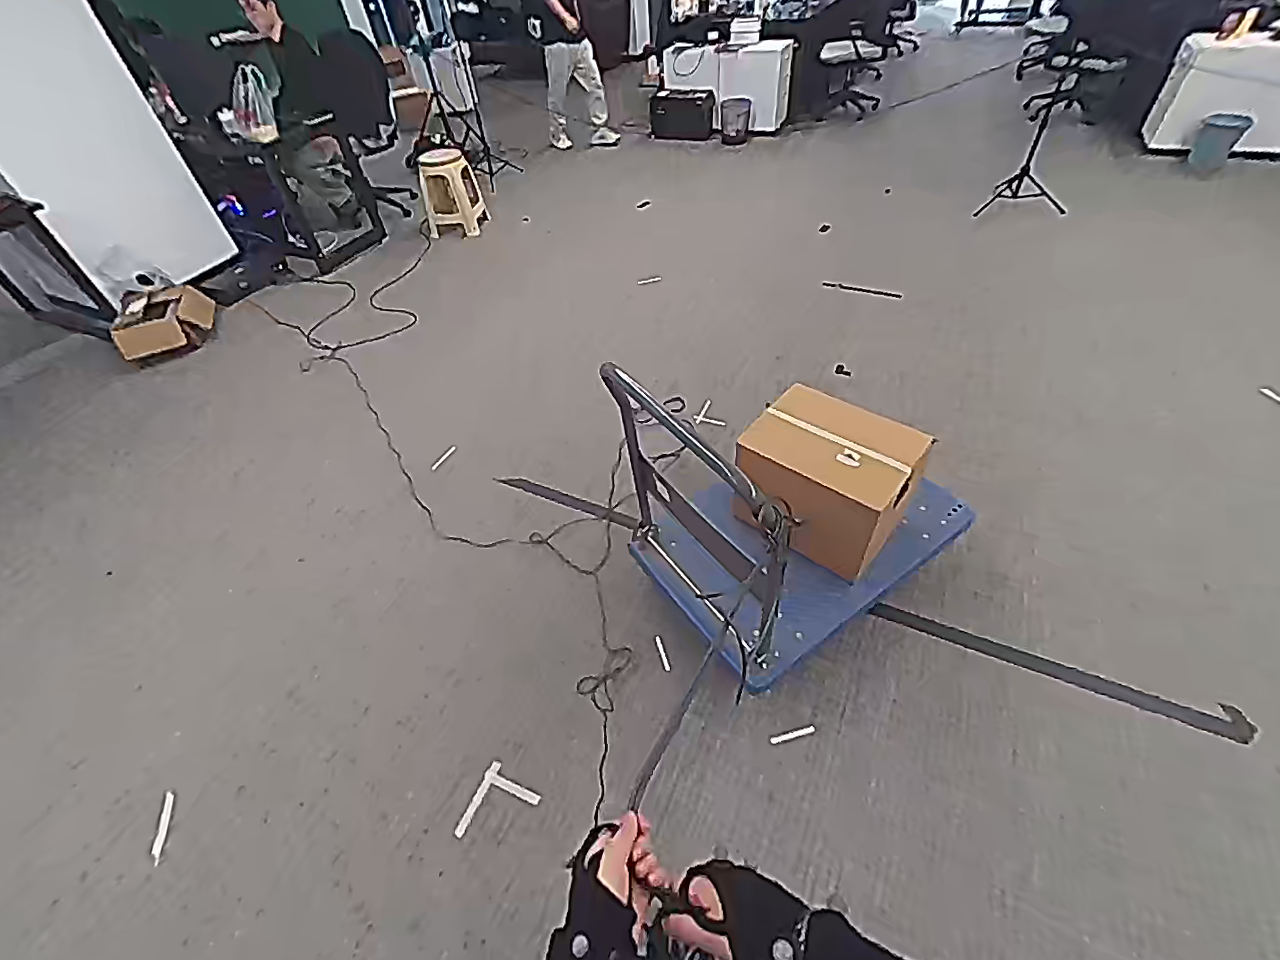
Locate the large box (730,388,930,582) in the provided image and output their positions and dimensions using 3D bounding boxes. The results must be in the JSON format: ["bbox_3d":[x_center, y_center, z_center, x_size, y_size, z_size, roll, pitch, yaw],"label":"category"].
[{"bbox_3d":[0.505,0.005,1.510,0.408,0.320,0.320,31,58,29],"label":"large box"}]
